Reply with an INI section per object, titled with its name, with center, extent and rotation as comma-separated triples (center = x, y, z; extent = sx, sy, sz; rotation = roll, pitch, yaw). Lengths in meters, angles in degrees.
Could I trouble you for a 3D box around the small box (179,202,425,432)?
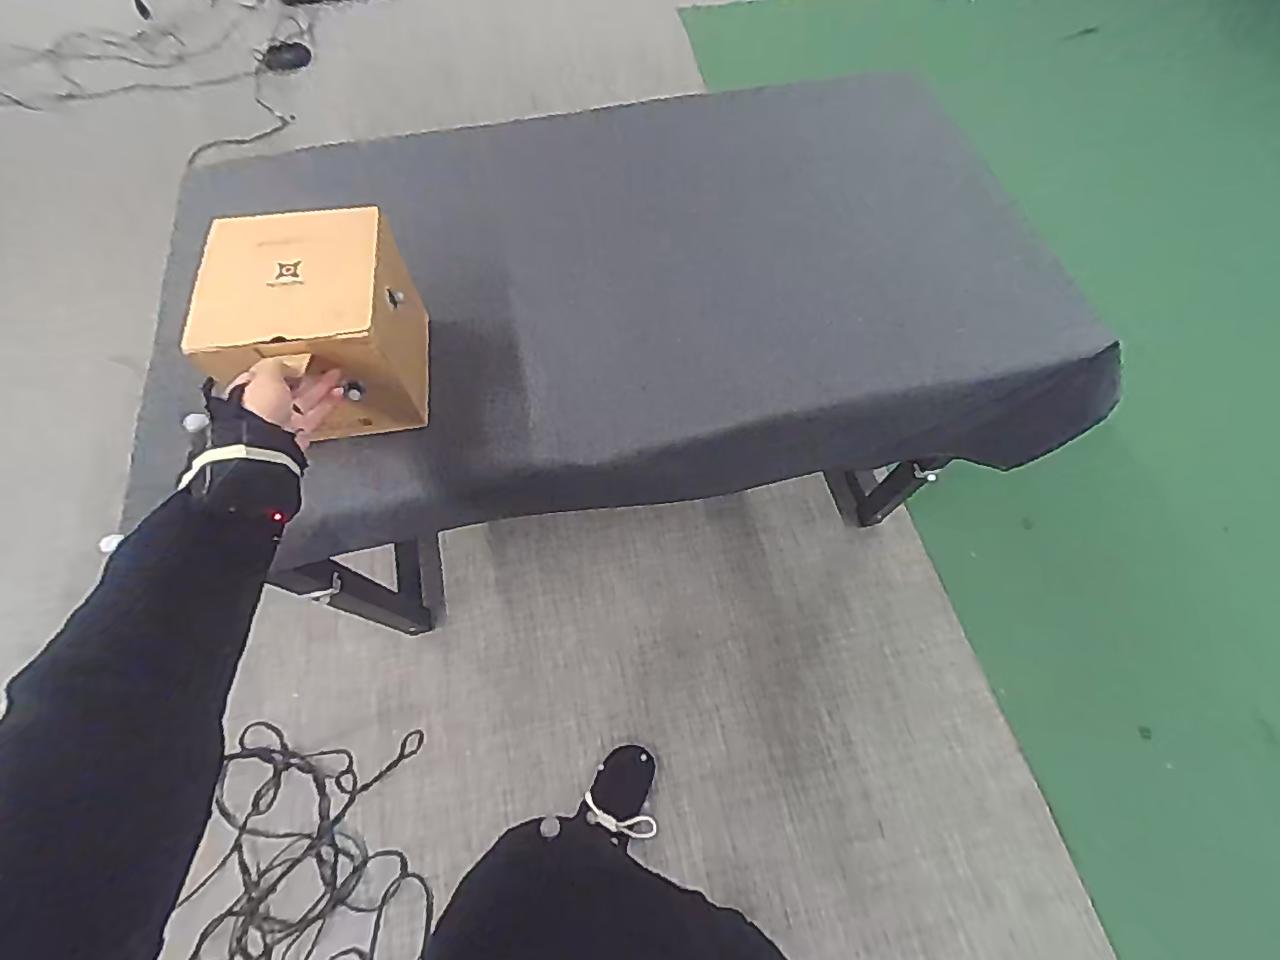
[small box]
center = -0.342, -0.166, 0.589
extent = 0.168, 0.176, 0.179
rotation = -8, 64, -7
